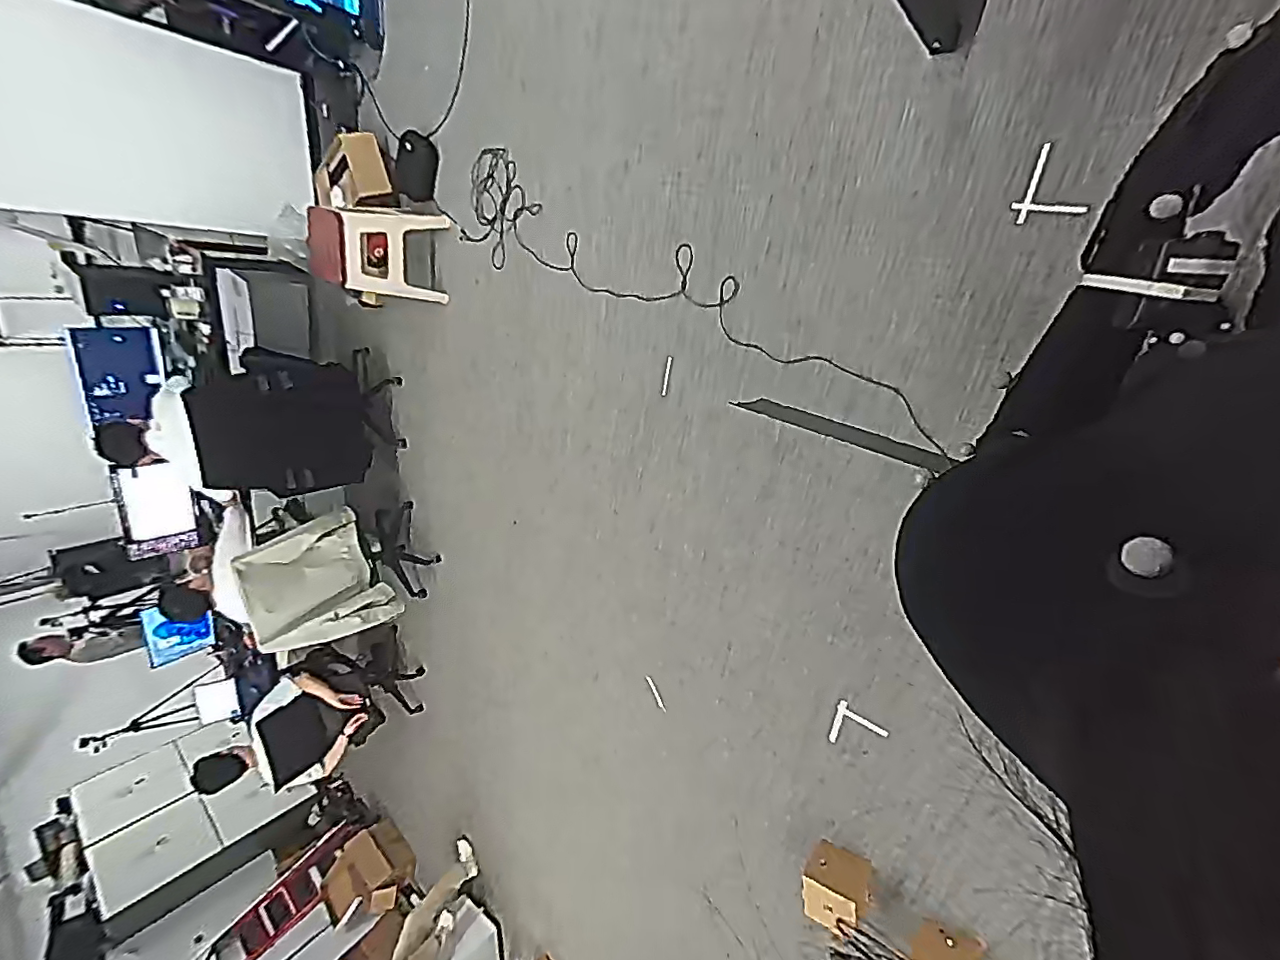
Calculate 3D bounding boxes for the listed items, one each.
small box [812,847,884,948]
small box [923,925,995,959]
[{"bbox_3d":[0.687,1.363,1.783,0.179,0.176,0.168,3,105,40],"label":"small box"},{"bbox_3d":[0.941,1.487,1.593,0.168,0.176,0.179,2,103,41],"label":"small box"}]
